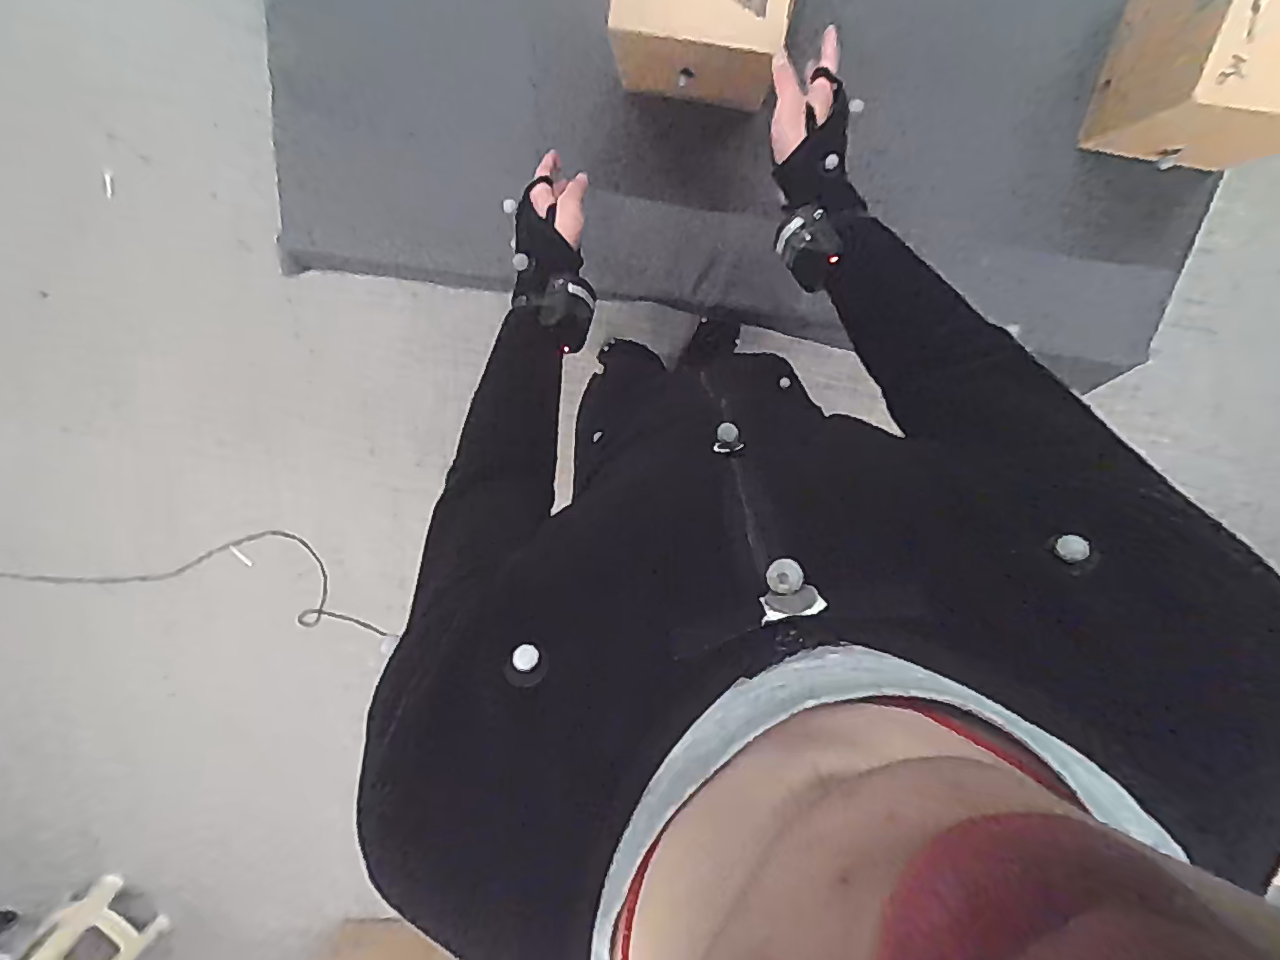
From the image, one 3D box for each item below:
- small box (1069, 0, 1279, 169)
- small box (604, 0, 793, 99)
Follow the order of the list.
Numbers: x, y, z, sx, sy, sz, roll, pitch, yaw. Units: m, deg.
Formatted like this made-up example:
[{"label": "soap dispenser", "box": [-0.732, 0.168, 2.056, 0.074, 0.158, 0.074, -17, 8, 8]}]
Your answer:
[{"label": "small box", "box": [0.621, -0.446, 0.569, 0.179, 0.176, 0.168, 10, 108, -1]}, {"label": "small box", "box": [0.068, -0.528, 0.564, 0.179, 0.176, 0.168, 10, 108, 0]}]
